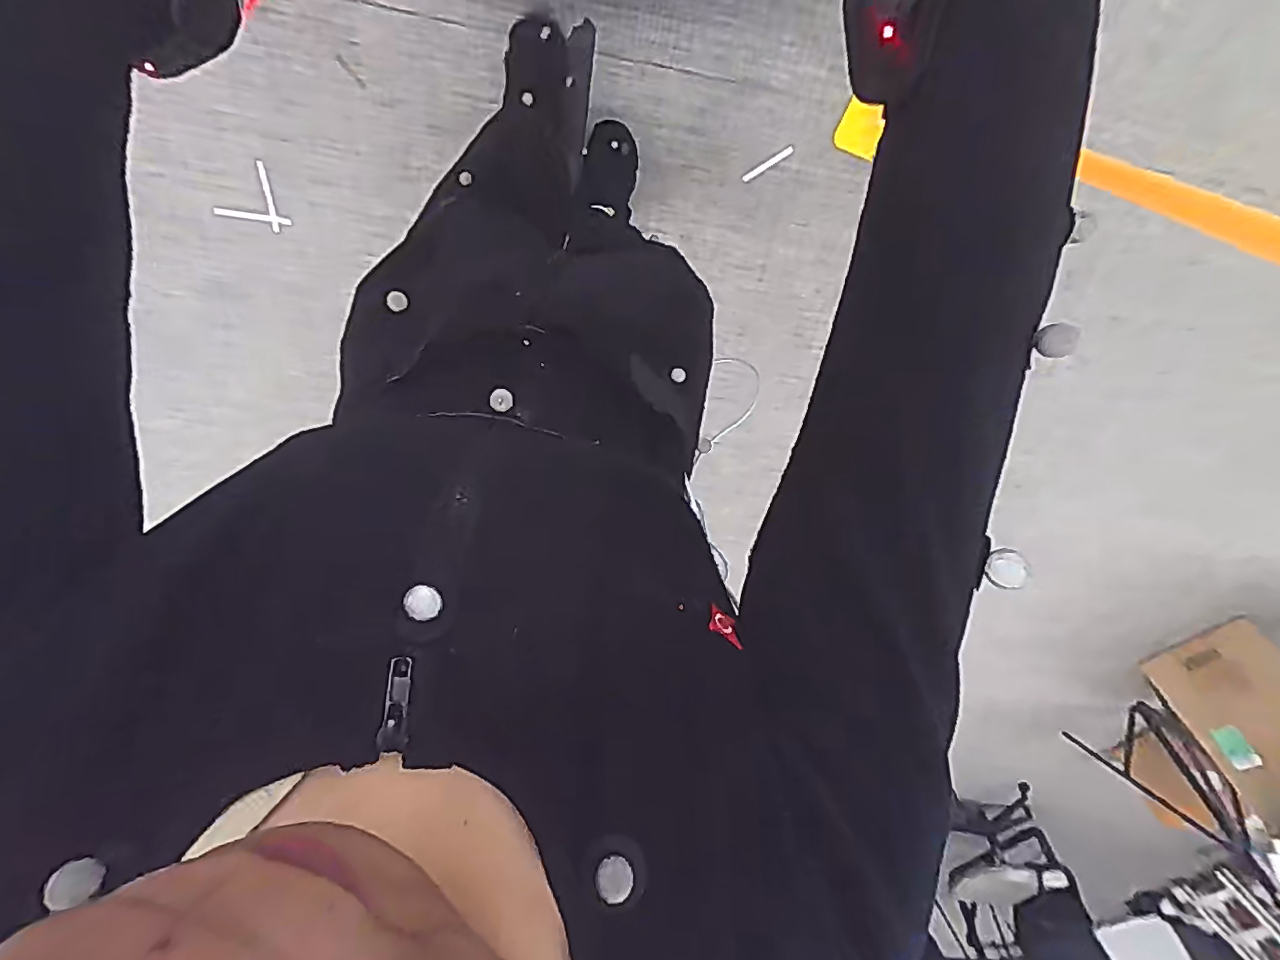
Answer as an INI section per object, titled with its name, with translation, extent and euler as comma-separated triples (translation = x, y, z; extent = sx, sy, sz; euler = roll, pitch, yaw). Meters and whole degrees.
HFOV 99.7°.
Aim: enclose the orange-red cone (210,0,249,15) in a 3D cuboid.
[orange-red cone]
translation = -0.664, -0.767, 0.700
extent = 0.199, 0.360, 0.198
euler = -28, 126, 21
